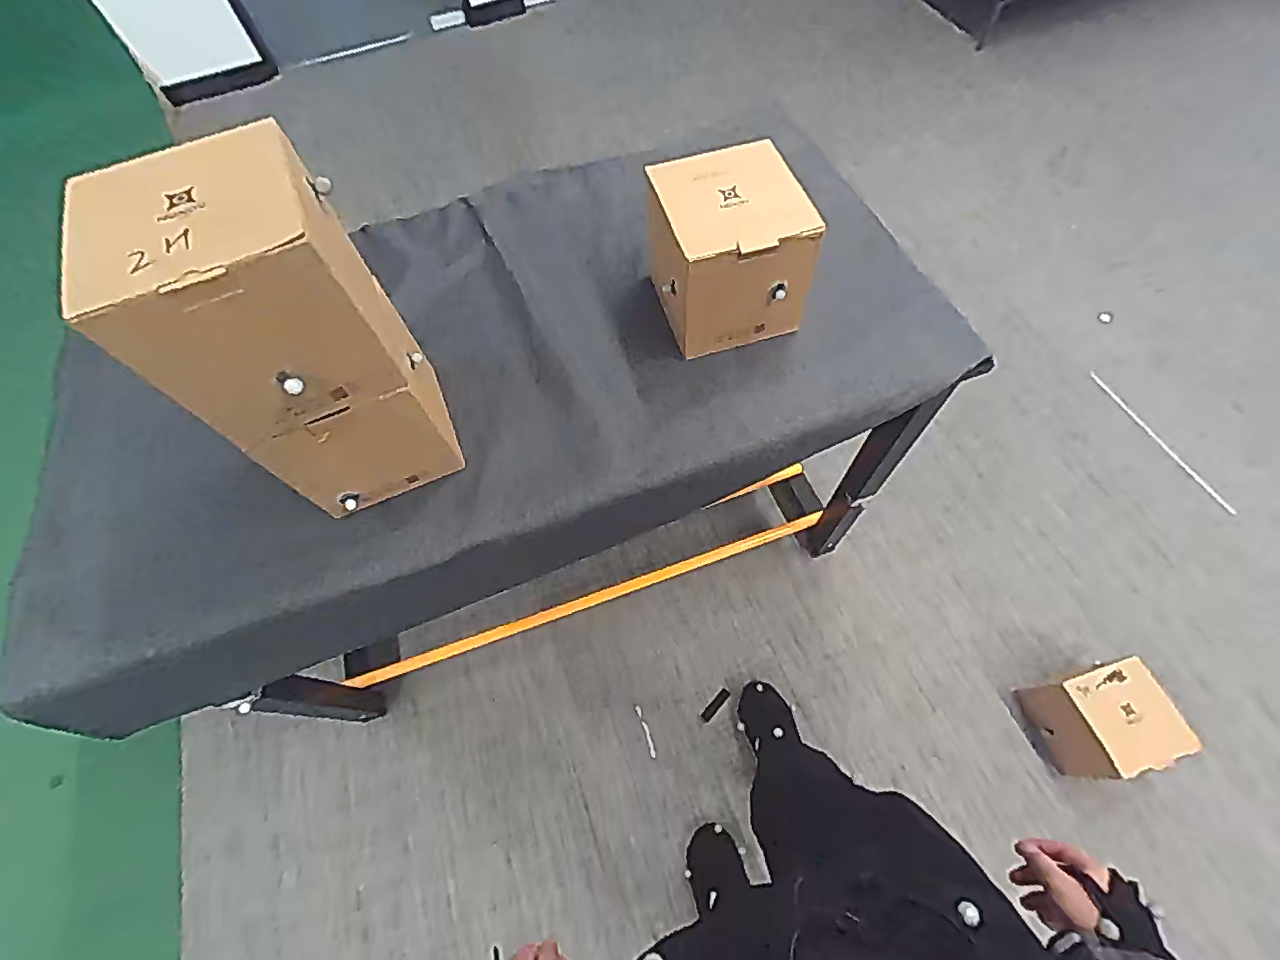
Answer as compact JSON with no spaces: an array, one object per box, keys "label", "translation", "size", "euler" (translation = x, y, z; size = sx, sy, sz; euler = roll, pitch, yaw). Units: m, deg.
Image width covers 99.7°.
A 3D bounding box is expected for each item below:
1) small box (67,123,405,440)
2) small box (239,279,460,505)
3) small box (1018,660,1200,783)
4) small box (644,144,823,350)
[{"label":"small box","translation":[-0.339,-0.168,0.482],"size":[0.168,0.176,0.179],"euler":[-25,64,-8]},{"label":"small box","translation":[-0.328,-0.090,0.627],"size":[0.168,0.176,0.179],"euler":[-23,63,-8]},{"label":"small box","translation":[0.911,0.475,1.071],"size":[0.168,0.176,0.179],"euler":[-17,64,-4]},{"label":"small box","translation":[0.110,-0.290,0.702],"size":[0.168,0.176,0.179],"euler":[-15,62,-5]}]
